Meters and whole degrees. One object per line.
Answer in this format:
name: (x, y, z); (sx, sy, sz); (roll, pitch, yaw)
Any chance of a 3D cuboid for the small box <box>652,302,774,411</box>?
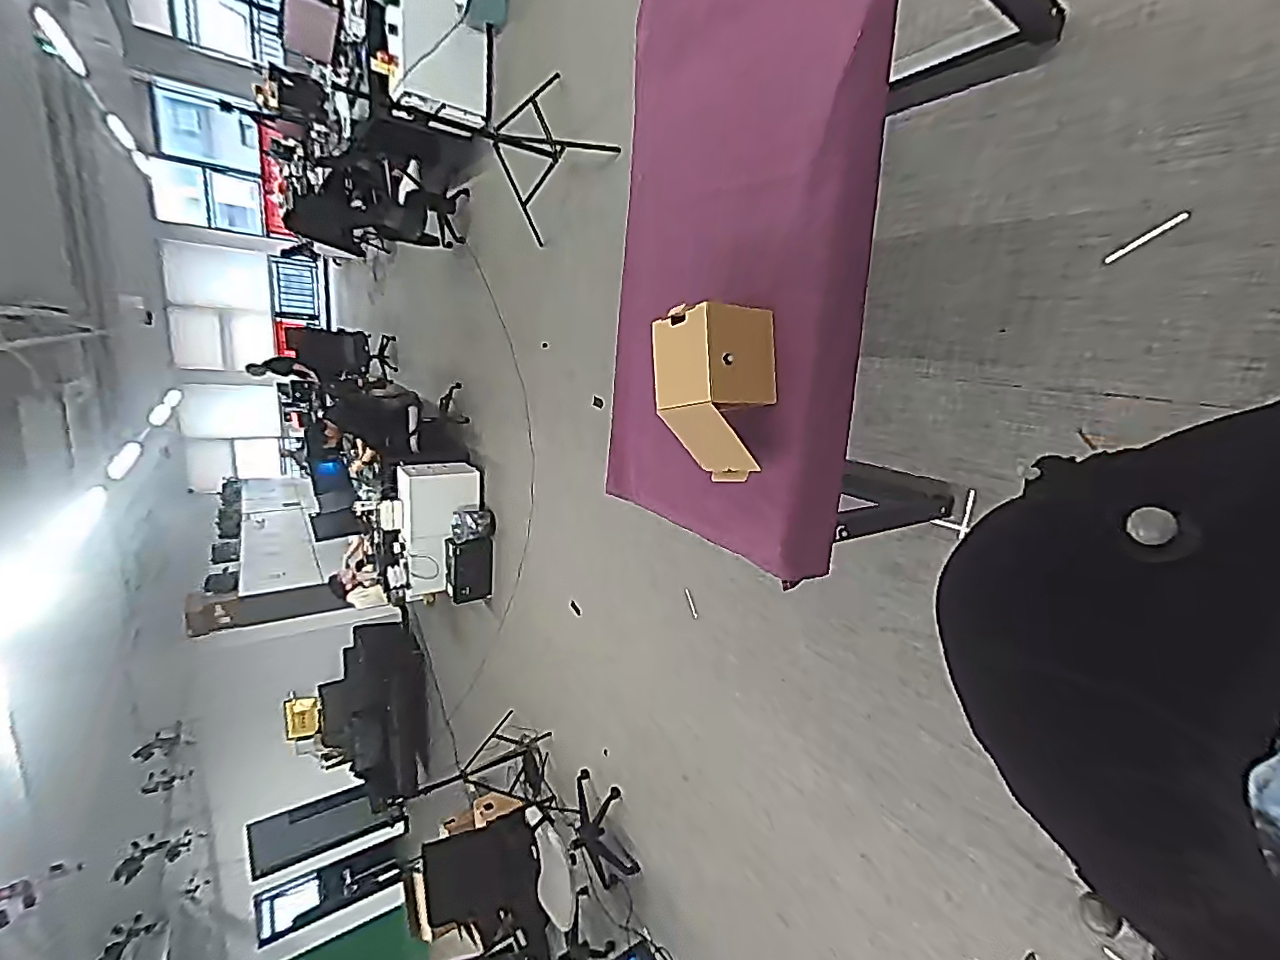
small box: (0.141, -0.227, 1.033); (0.168, 0.176, 0.179); (2, 95, 56)
